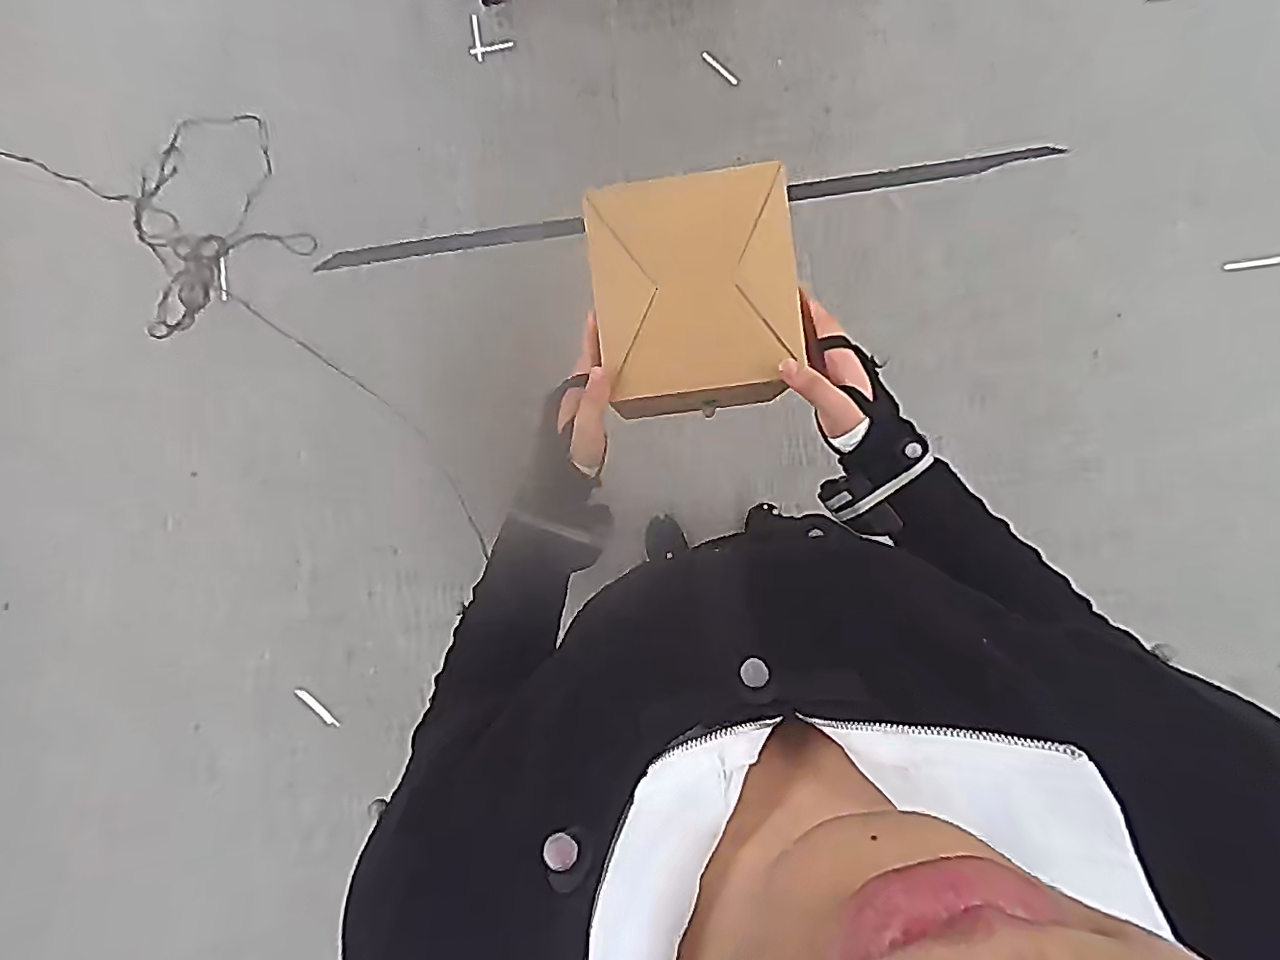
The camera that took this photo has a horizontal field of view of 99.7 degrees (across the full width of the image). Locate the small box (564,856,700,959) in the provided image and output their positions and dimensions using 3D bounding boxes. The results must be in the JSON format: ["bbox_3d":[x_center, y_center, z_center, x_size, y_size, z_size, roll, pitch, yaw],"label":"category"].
[{"bbox_3d":[-0.003,0.670,0.760,0.168,0.176,0.179,-6,84,5],"label":"small box"}]
